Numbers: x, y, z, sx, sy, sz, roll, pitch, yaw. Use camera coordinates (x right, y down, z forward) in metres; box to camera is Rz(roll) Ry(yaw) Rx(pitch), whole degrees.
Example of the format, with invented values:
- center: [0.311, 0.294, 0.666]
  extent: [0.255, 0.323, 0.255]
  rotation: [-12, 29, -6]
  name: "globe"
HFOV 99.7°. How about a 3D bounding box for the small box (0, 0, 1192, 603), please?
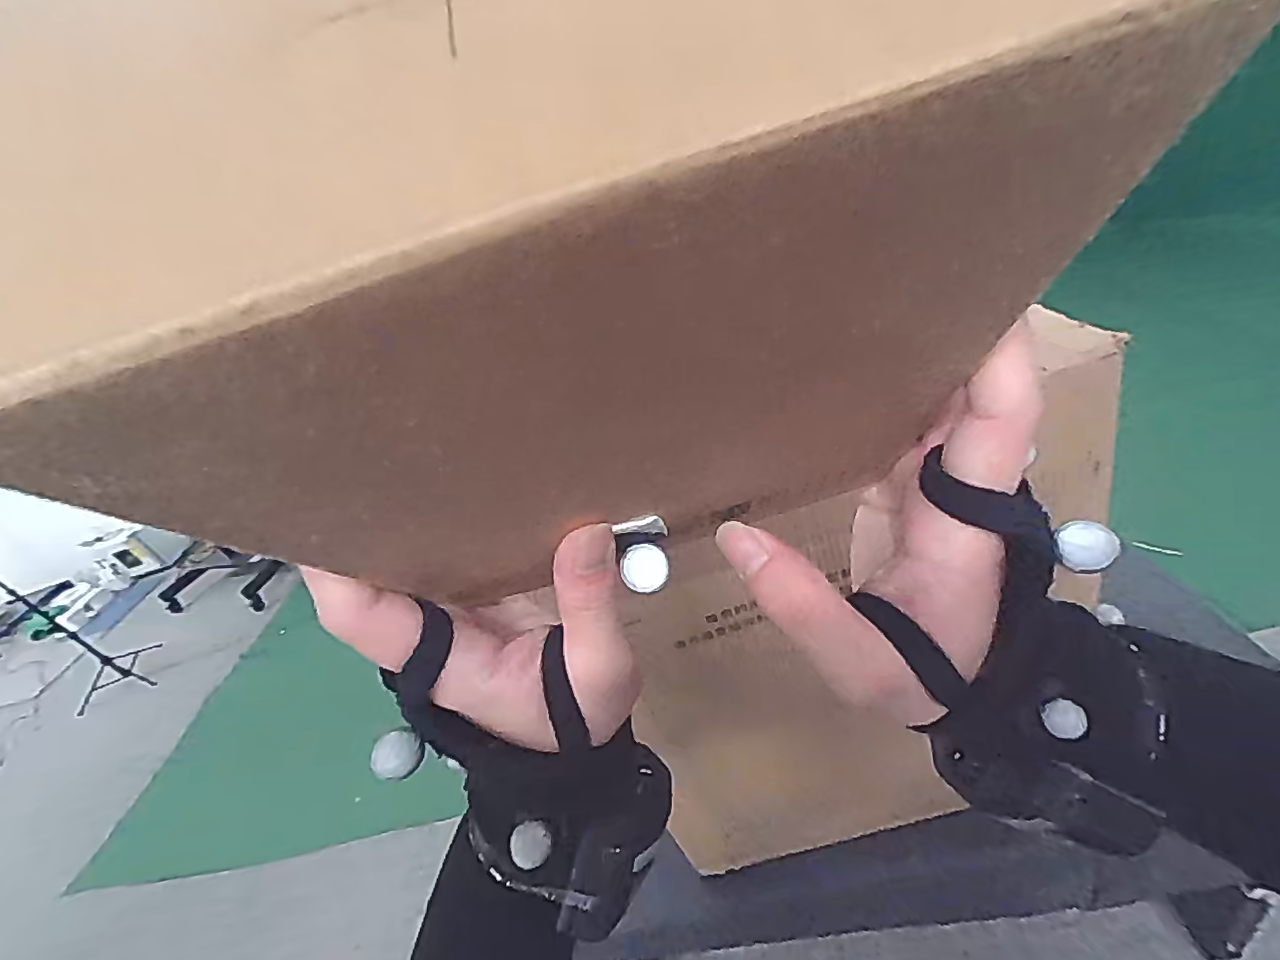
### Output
- center: [-0.022, -0.075, 0.173]
  extent: [0.168, 0.176, 0.179]
  rotation: [-19, 69, 2]
  name: "small box"
